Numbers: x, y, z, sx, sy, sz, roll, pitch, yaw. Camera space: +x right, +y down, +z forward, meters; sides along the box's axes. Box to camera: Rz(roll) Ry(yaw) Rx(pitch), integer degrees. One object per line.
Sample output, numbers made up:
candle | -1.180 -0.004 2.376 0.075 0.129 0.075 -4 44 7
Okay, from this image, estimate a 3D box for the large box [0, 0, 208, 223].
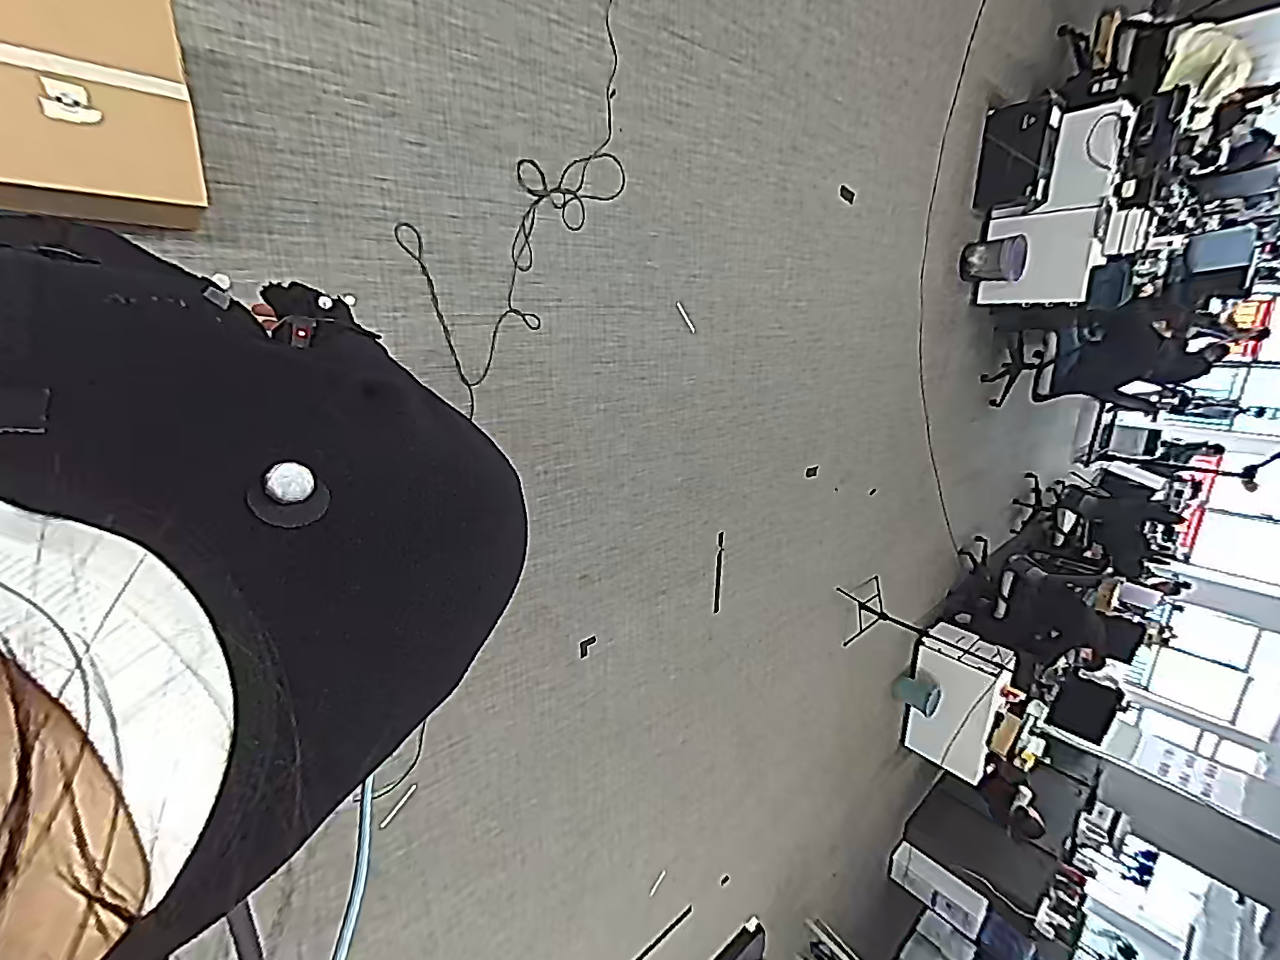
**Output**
large box | -0.937 -0.591 0.803 0.408 0.320 0.320 -13 112 -40
